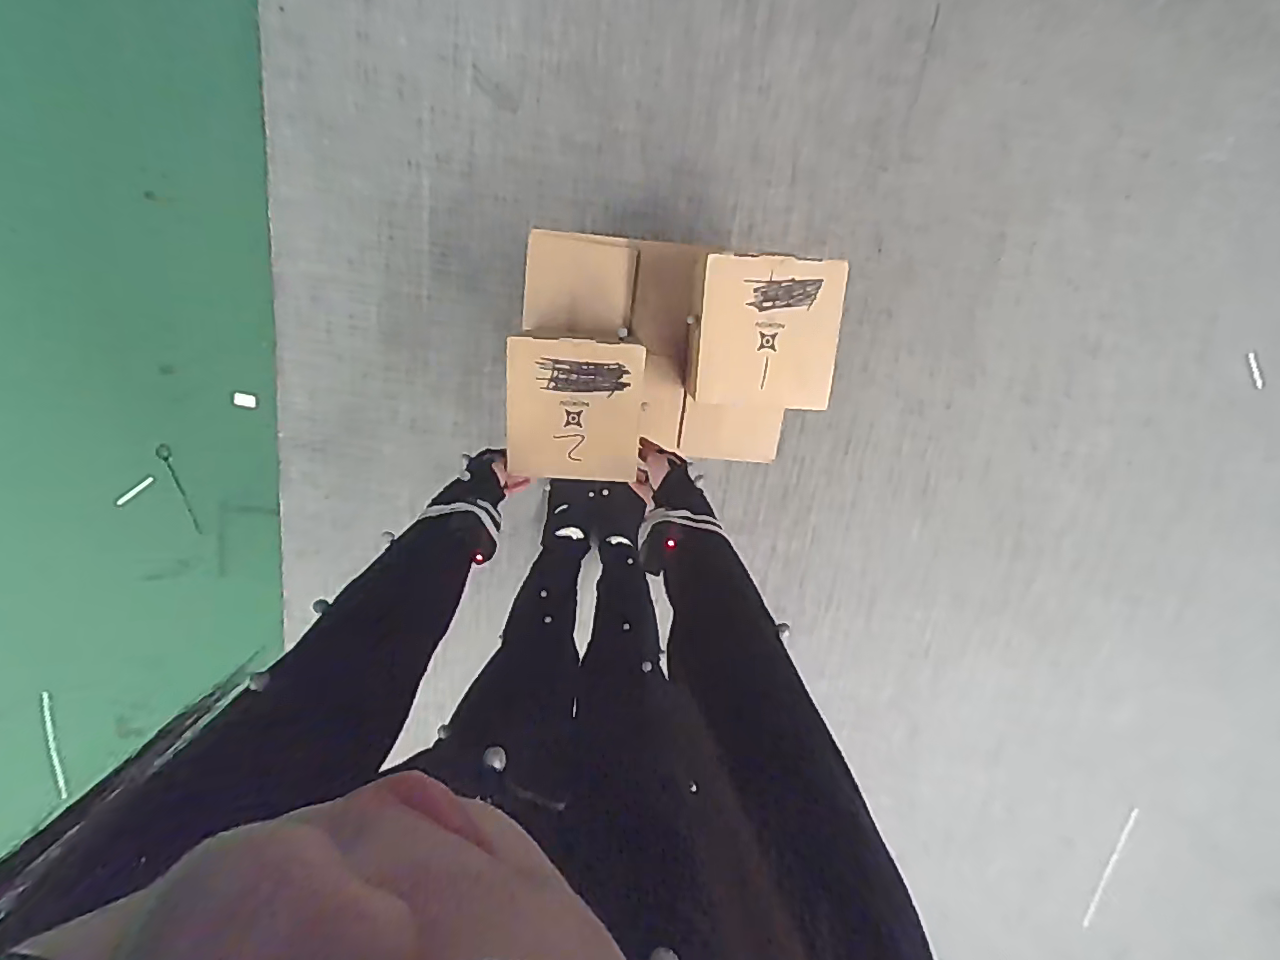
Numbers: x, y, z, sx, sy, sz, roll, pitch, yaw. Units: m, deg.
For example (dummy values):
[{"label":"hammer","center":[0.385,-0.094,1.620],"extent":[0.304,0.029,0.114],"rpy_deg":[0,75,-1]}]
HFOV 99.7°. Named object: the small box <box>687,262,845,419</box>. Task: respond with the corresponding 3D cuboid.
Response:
[{"label":"small box","center":[0.156,-0.187,0.732],"extent":[0.168,0.176,0.179],"rpy_deg":[4,107,0]}]
